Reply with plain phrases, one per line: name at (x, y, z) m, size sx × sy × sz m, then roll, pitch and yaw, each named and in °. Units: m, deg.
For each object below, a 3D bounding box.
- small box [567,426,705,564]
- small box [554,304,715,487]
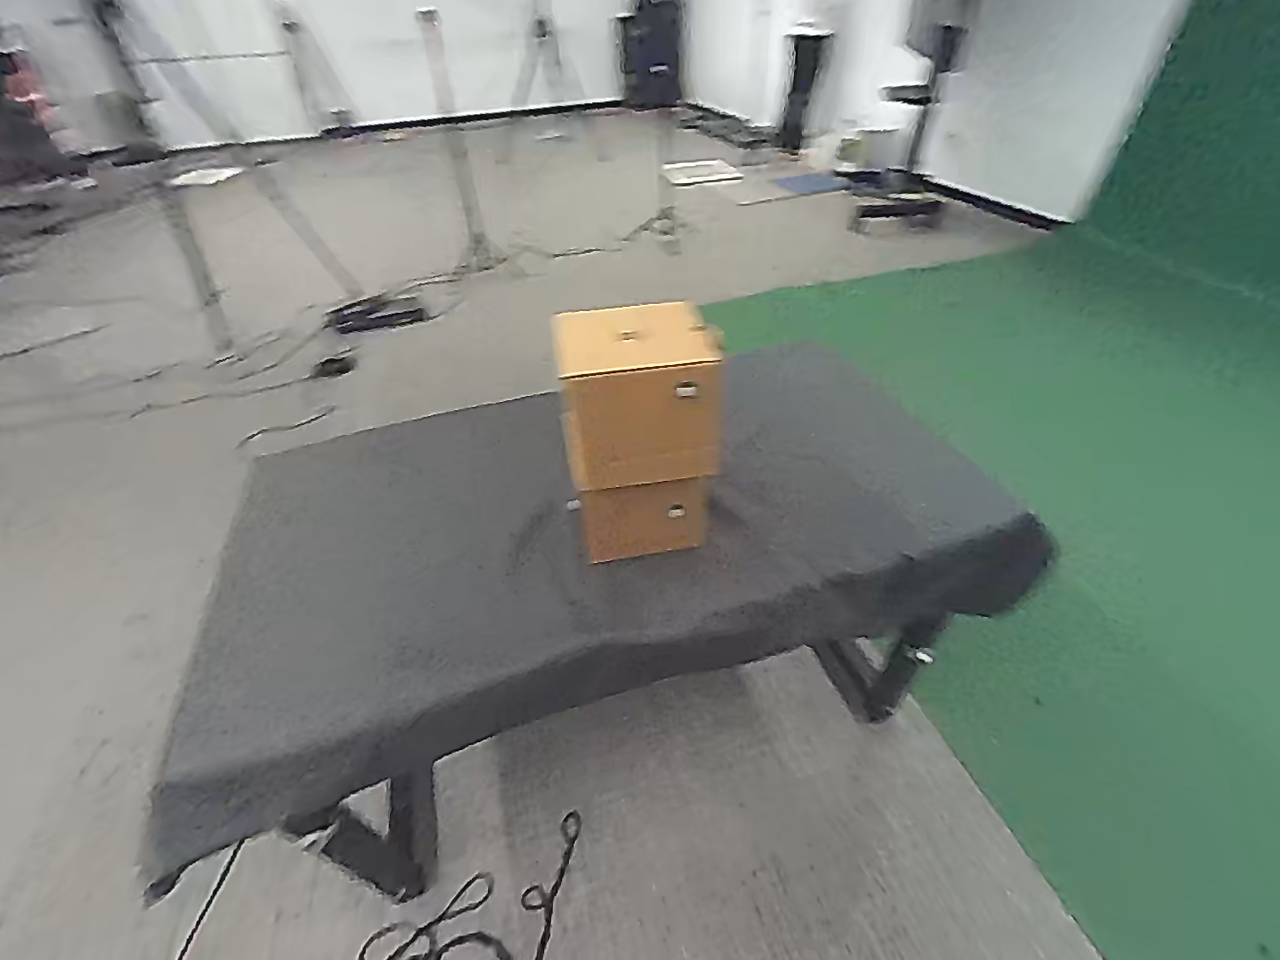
small box at (-0.009, 0.003, 0.816) m, size 0.179 × 0.176 × 0.168 m, roll -10°, pitch 41°, yaw -6°
small box at (-0.009, -0.107, 0.694) m, size 0.179 × 0.176 × 0.168 m, roll -8°, pitch 41°, yaw -6°
